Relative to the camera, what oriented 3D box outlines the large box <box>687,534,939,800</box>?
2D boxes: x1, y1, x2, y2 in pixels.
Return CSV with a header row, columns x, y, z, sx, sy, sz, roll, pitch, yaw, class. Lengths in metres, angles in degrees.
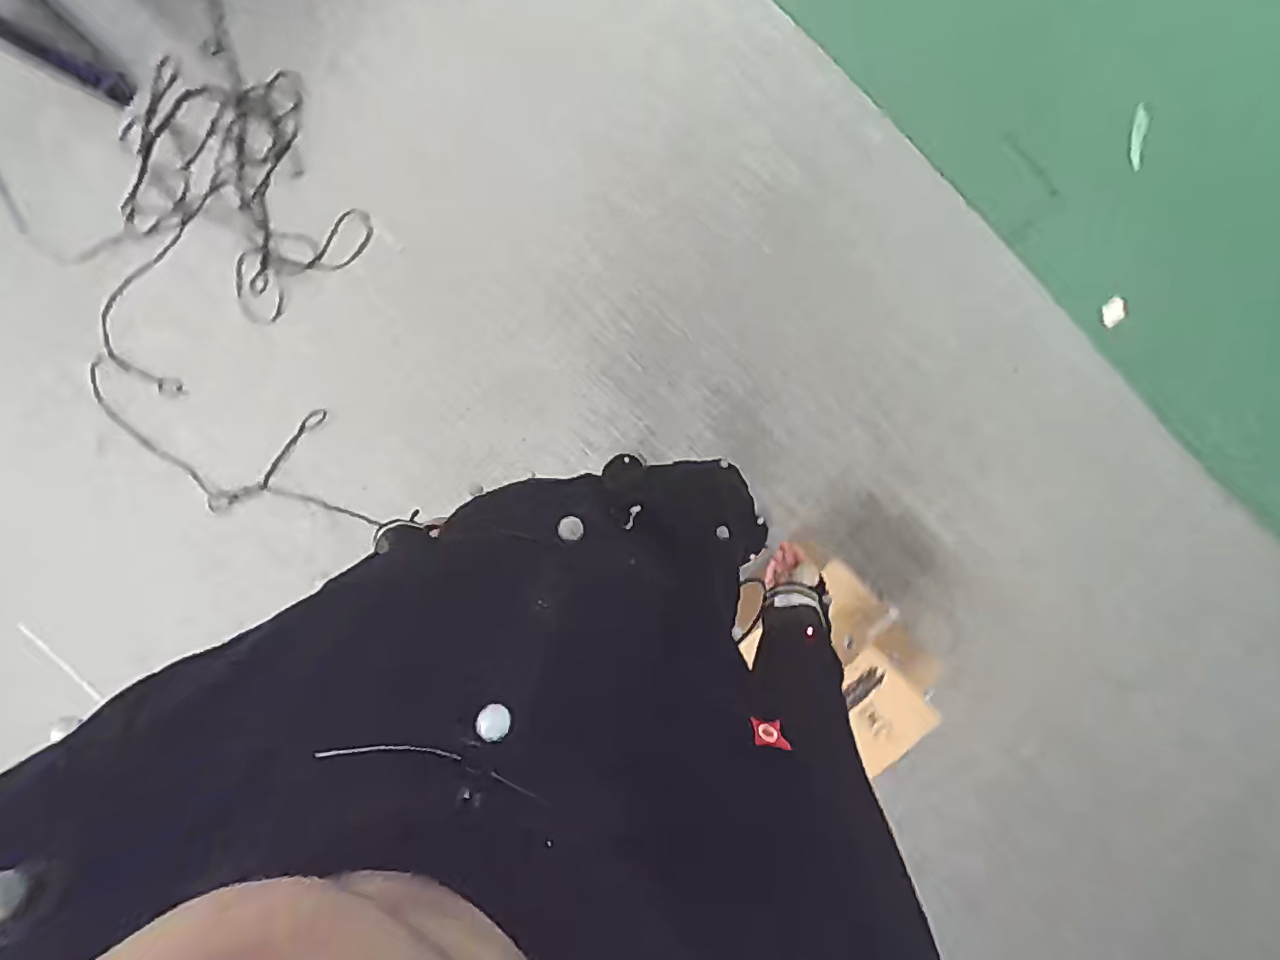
x,y,z,sx,sy,sz,roll,pitch,yaw,class
0.349,0.388,1.210,0.408,0.320,0.320,-44,91,9,large box
